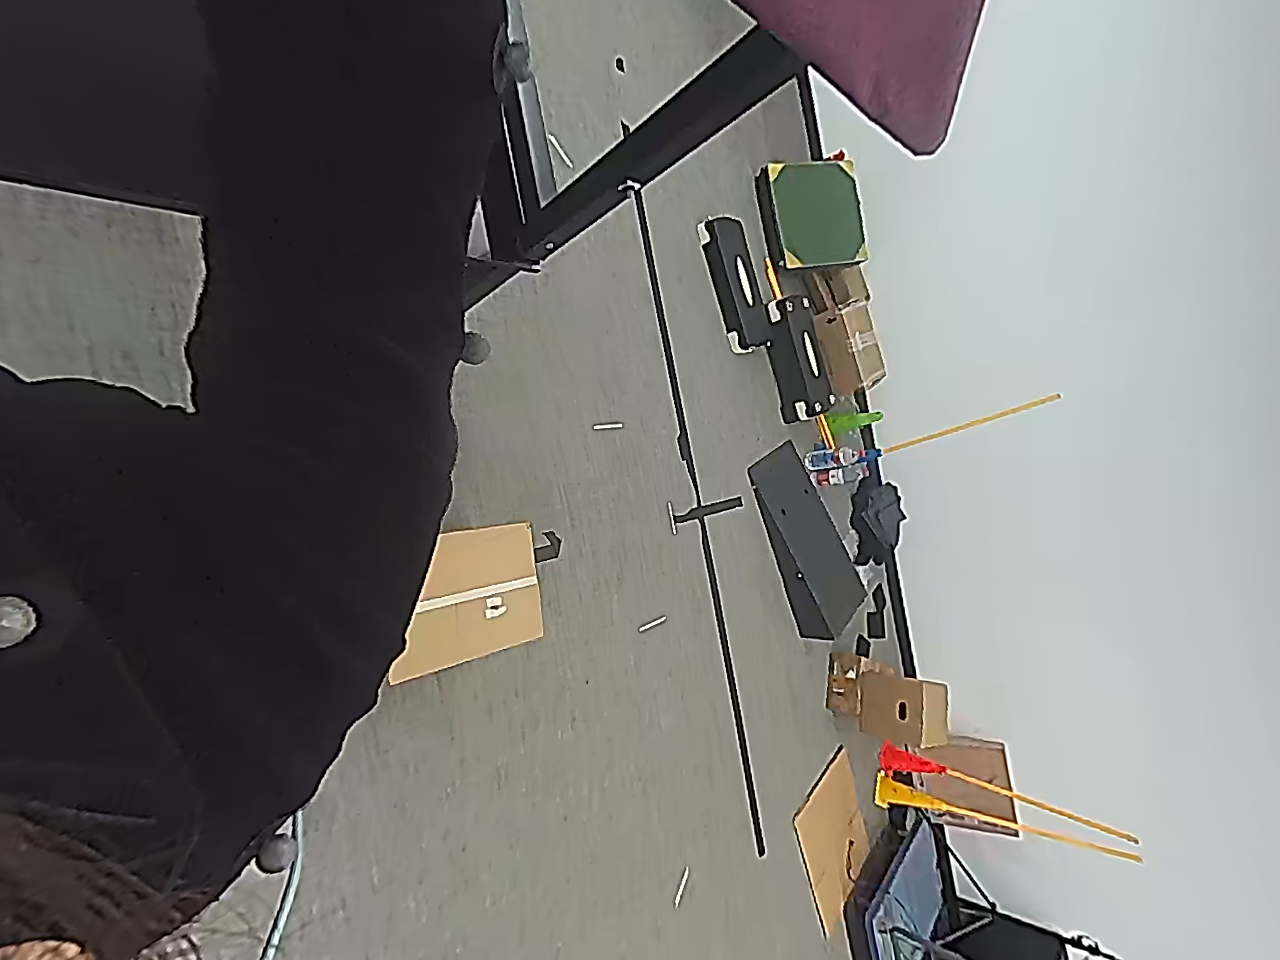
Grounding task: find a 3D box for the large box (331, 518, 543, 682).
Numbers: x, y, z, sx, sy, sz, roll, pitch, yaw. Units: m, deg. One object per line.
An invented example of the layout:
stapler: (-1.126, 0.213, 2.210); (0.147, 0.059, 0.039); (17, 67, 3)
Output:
large box: (-0.522, 0.287, 1.401); (0.408, 0.320, 0.320); (-6, 88, -46)
